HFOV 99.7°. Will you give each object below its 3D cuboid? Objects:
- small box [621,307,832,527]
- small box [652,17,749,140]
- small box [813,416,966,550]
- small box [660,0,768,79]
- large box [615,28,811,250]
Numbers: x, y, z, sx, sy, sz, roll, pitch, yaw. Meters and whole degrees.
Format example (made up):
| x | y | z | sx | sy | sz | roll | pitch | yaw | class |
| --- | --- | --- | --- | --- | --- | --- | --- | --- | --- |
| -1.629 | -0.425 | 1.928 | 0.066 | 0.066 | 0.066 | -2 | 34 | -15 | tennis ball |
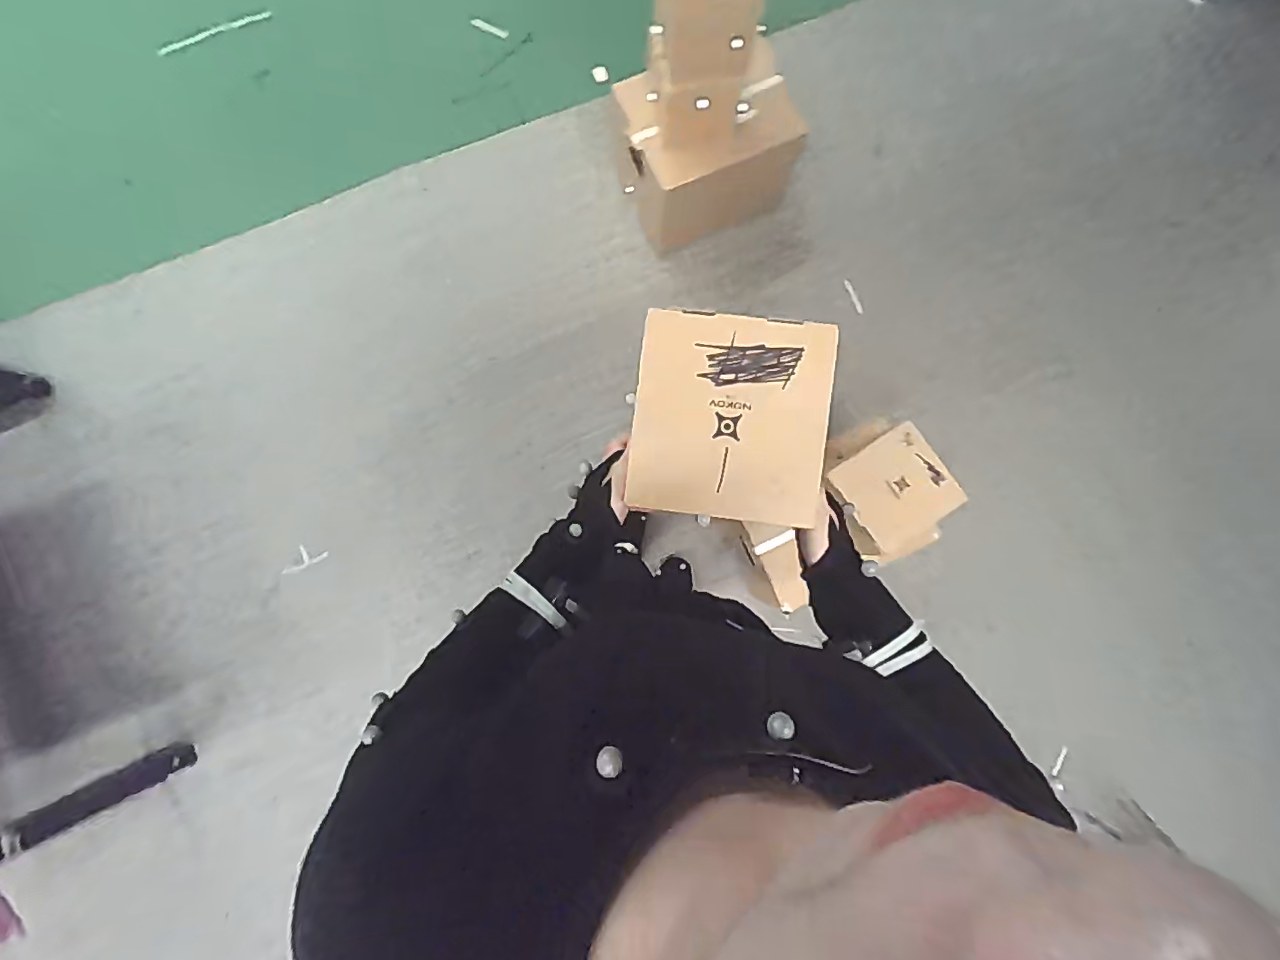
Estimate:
| x | y | z | sx | sy | sz | roll | pitch | yaw | class |
| --- | --- | --- | --- | --- | --- | --- | --- | --- | --- |
| 0.078 | -0.055 | 0.541 | 0.168 | 0.176 | 0.179 | 6 | 91 | 4 | small box |
| 0.130 | -0.918 | 1.230 | 0.179 | 0.176 | 0.168 | -13 | 84 | -2 | small box |
| 0.426 | 0.014 | 0.974 | 0.179 | 0.176 | 0.168 | -32 | 84 | -3 | small box |
| 0.139 | -0.944 | 1.069 | 0.179 | 0.176 | 0.168 | -10 | 83 | -1 | small box |
| 0.176 | -0.907 | 1.473 | 0.408 | 0.320 | 0.320 | -24 | 85 | -4 | large box |
